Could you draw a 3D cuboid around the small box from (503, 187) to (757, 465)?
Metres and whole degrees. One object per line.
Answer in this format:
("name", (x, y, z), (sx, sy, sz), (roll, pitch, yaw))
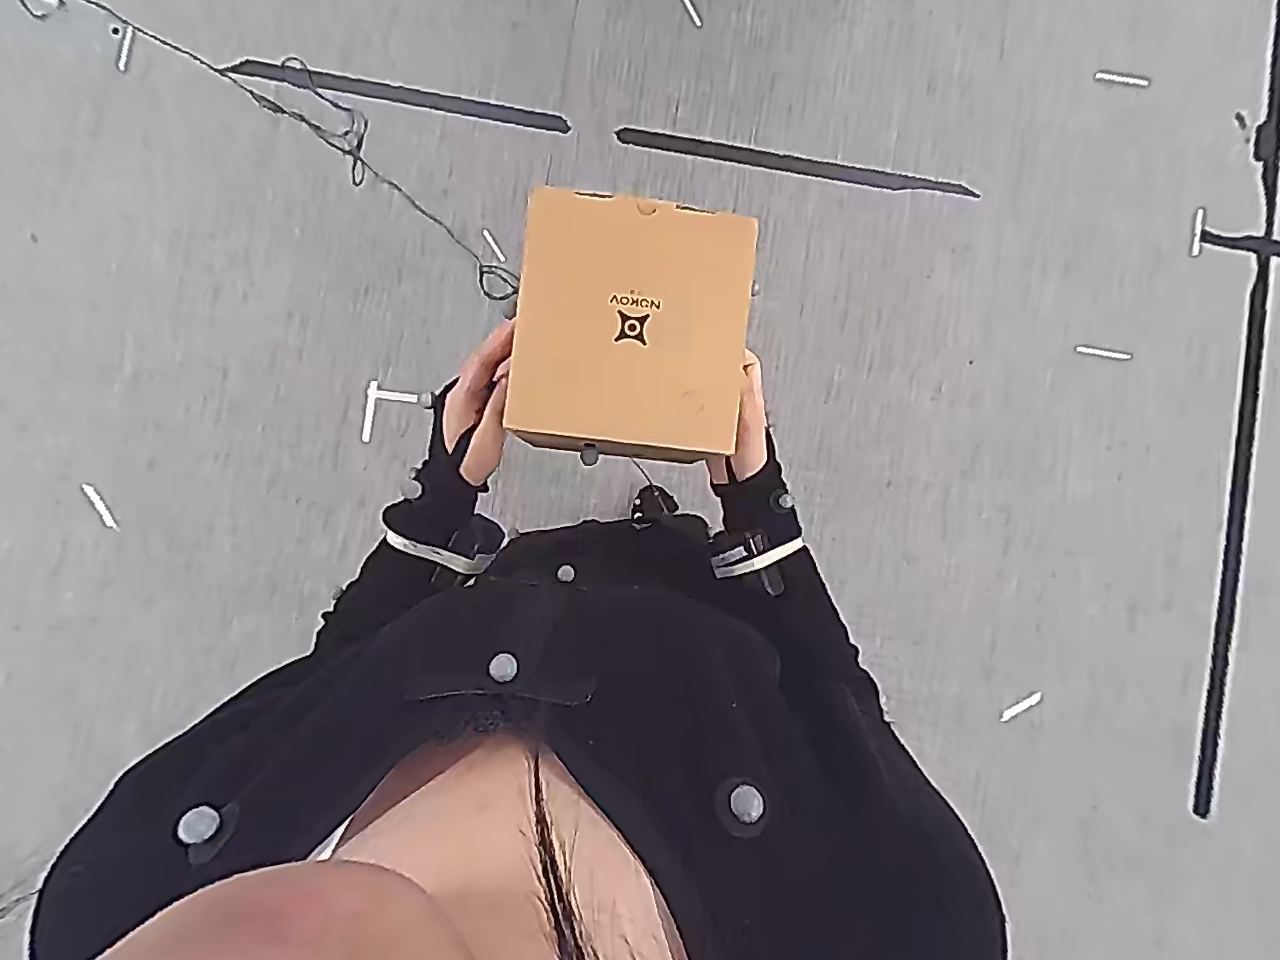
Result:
("small box", (-0.011, -0.109, 0.461), (0.168, 0.176, 0.179), (6, 87, -5))

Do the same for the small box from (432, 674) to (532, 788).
("small box", (-0.351, 0.562, 1.235), (0.168, 0.176, 0.179), (9, 88, 0))
